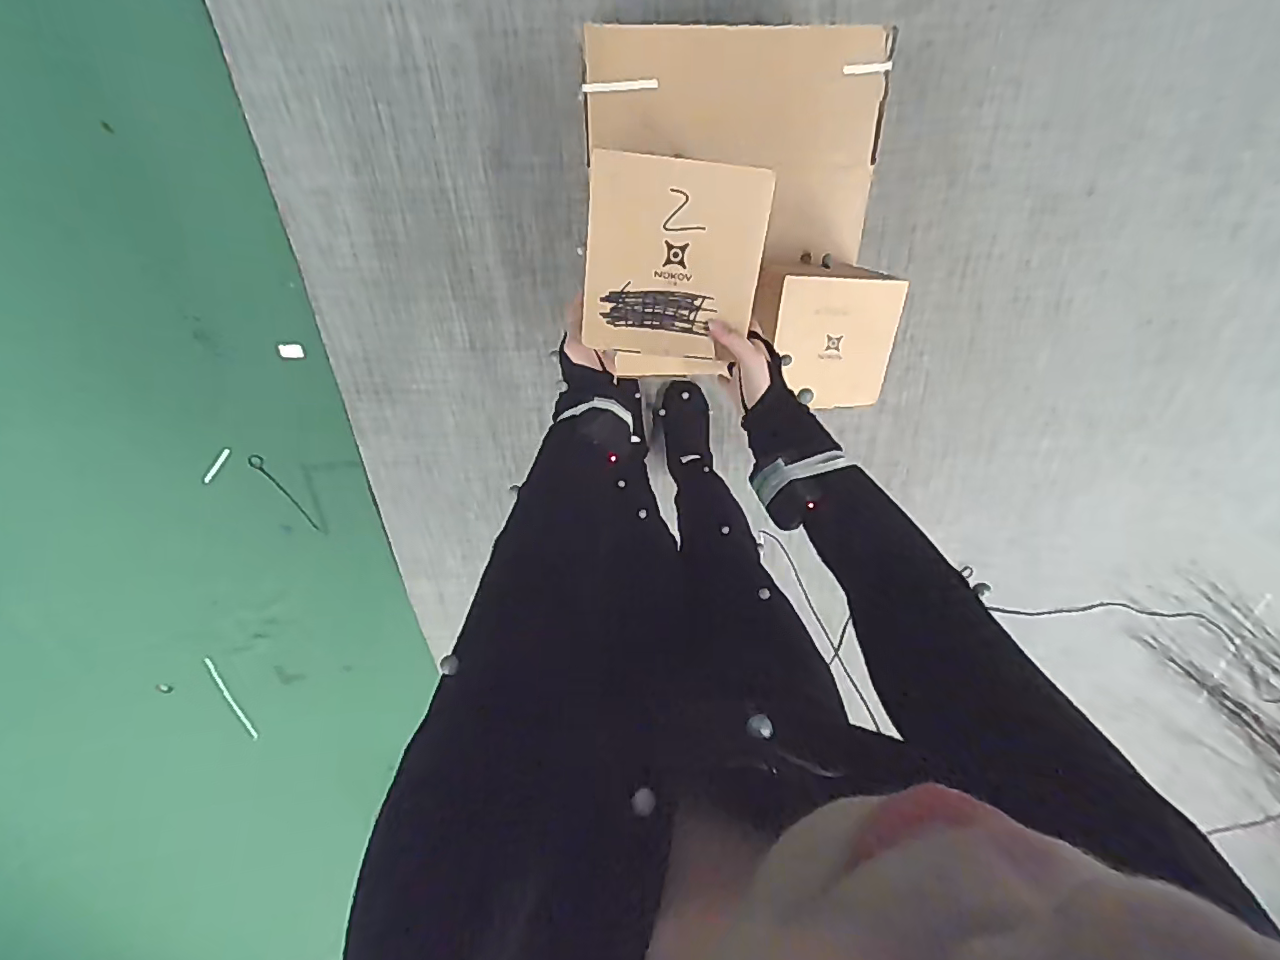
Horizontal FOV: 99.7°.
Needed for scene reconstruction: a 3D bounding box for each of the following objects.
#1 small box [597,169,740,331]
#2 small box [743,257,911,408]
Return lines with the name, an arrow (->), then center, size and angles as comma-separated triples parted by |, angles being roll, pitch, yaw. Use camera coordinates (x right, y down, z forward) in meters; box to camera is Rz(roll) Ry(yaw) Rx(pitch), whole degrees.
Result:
small box -> 0.028, -0.307, 0.727 | 0.168, 0.176, 0.179 | 2, 117, -2
small box -> 0.253, -0.217, 0.784 | 0.168, 0.176, 0.179 | 1, 117, -5
